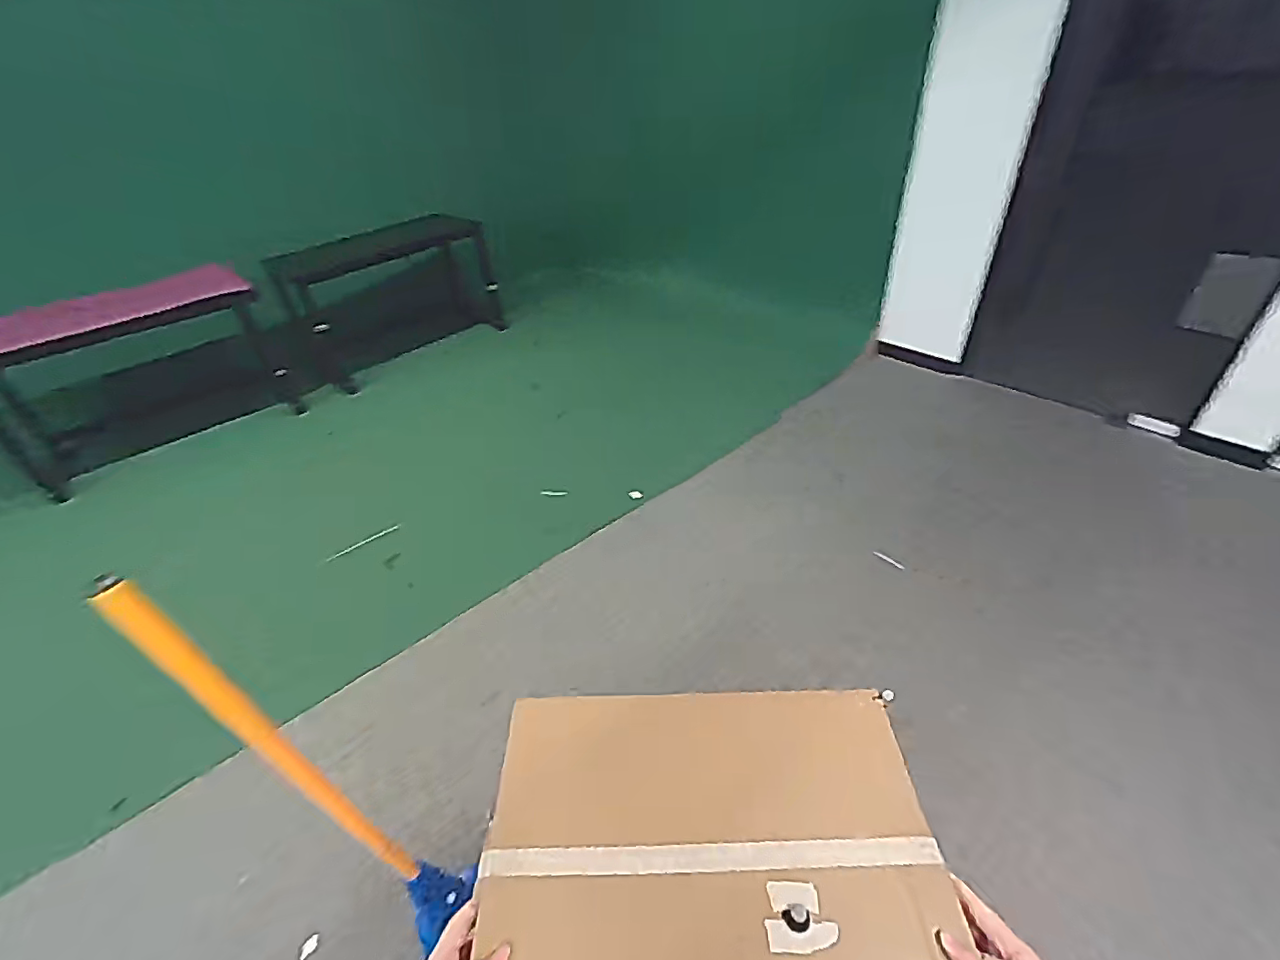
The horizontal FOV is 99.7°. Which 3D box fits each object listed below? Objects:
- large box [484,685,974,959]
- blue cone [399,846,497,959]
[{"bbox_3d":[0.071,0.449,0.591,0.408,0.320,0.320,0,41,1],"label":"large box"},{"bbox_3d":[-0.426,0.874,1.145,0.193,0.380,0.192,-24,41,-21],"label":"blue cone"}]
